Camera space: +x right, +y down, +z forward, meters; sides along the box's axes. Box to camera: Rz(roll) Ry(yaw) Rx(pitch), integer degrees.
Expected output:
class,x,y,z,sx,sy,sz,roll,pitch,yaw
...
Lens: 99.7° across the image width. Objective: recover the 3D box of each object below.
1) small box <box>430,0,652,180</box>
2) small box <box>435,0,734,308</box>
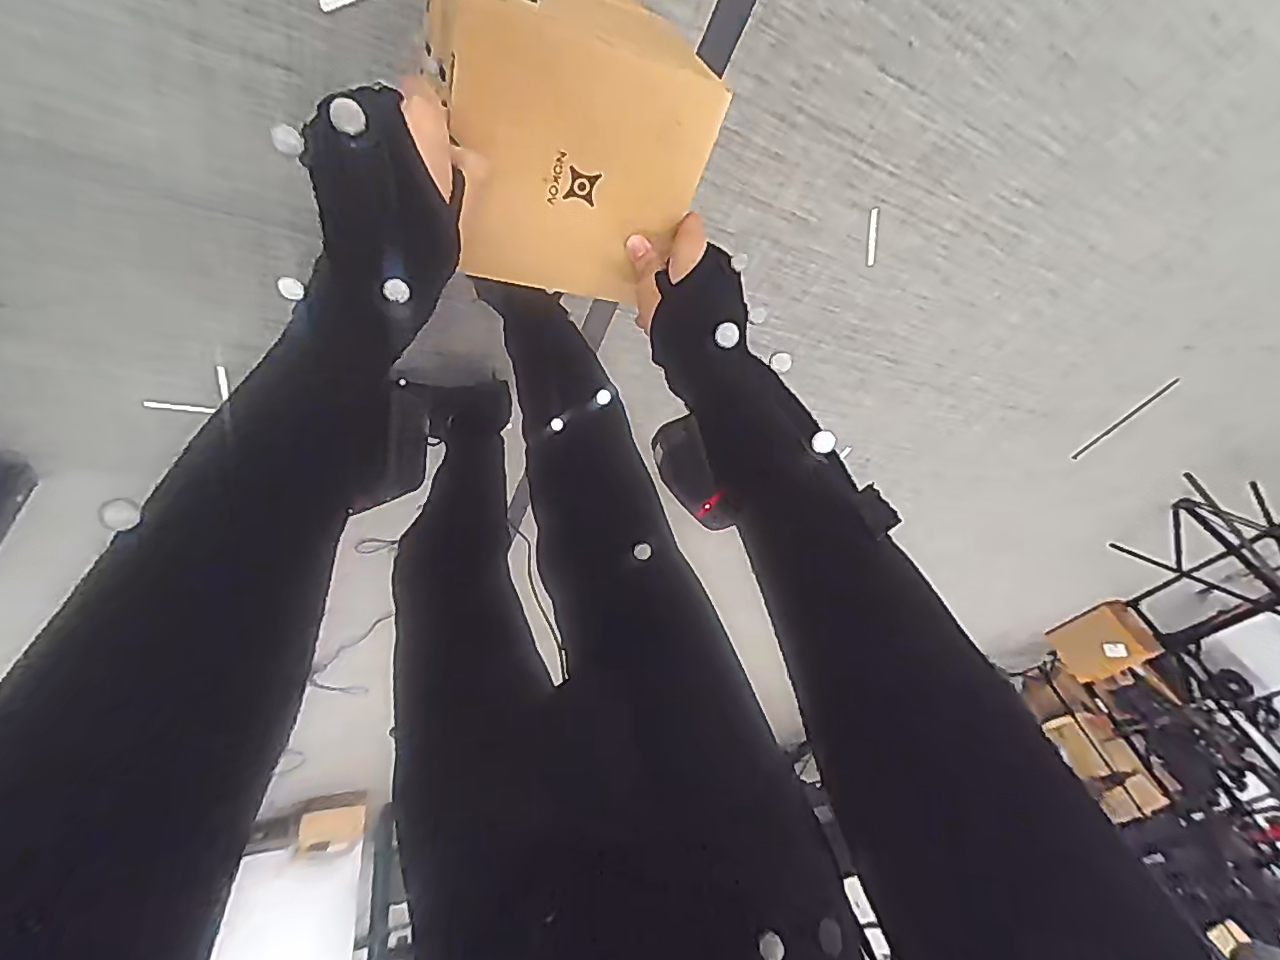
class,x,y,z,sx,sy,sz,roll,pitch,yaw
small box,-0.109,-0.386,0.516,0.168,0.176,0.179,2,139,-23
small box,-0.060,-0.264,0.421,0.179,0.176,0.168,3,138,-23
